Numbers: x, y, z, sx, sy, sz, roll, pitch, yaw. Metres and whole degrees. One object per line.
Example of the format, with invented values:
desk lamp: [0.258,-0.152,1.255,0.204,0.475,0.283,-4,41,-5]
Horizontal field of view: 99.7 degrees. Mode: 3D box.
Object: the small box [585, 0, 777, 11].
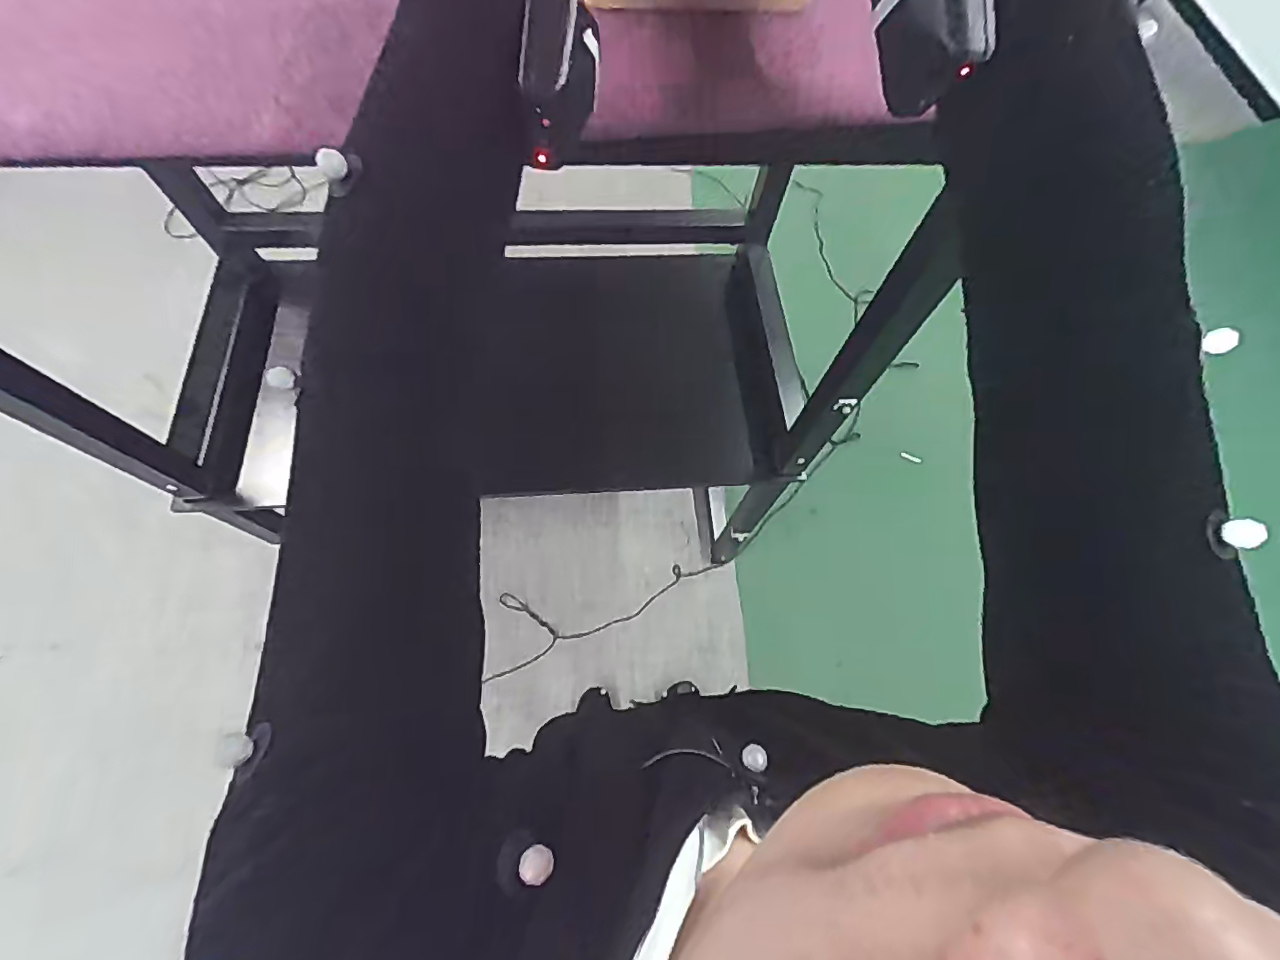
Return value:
small box: [0.040,-0.469,0.379,0.179,0.176,0.168,-3,65,-4]
